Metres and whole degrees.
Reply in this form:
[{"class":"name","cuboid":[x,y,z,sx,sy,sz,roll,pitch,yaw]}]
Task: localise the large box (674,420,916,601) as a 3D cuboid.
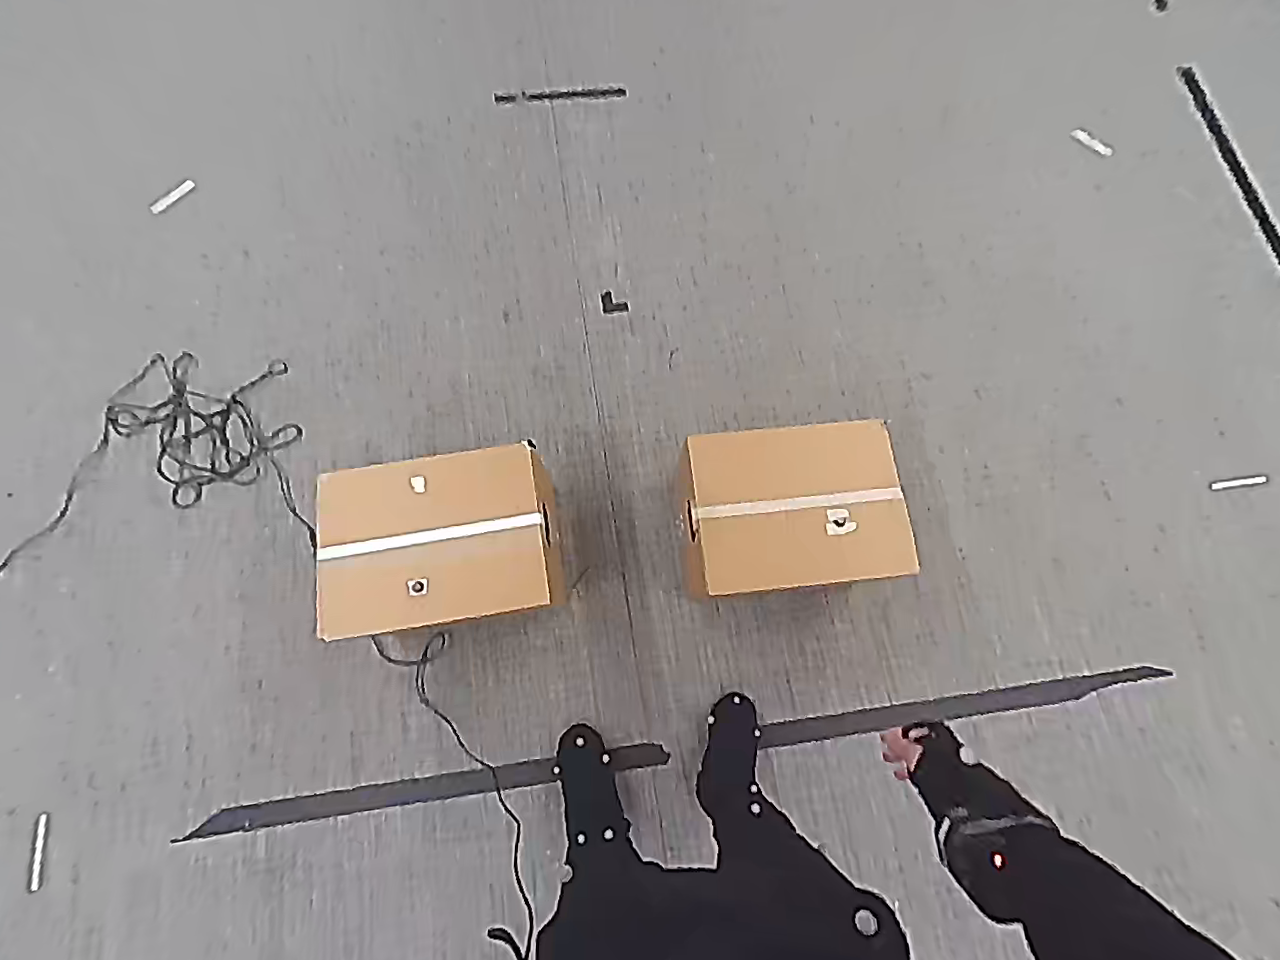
[{"class":"large box","cuboid":[0.305,0.082,1.190,0.408,0.320,0.320,-5,76,-4]}]
